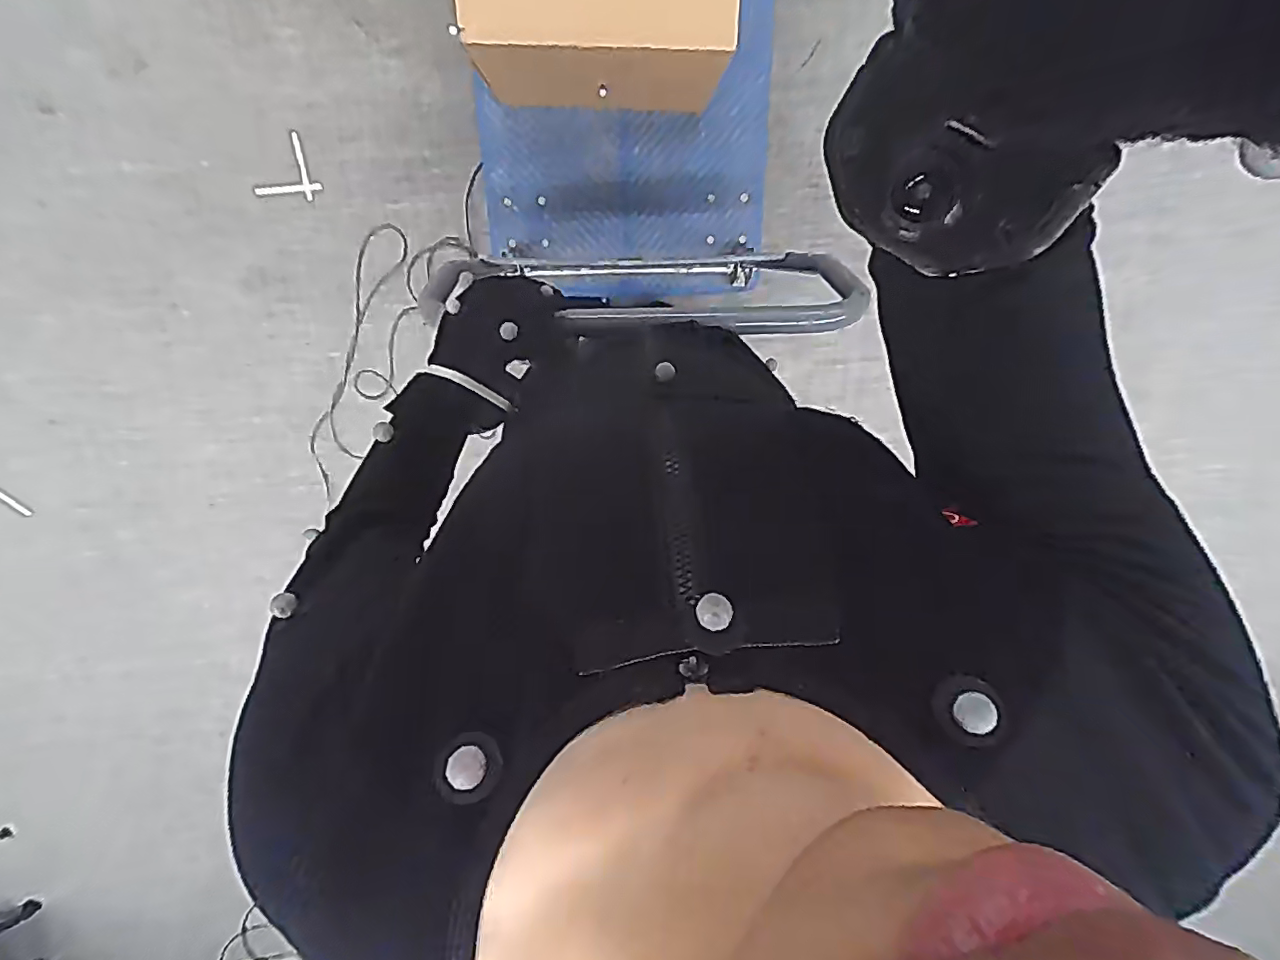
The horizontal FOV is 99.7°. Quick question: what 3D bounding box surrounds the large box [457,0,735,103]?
[{"bbox_3d":[-0.064,-0.830,0.872,0.408,0.320,0.320,0,111,-2],"label":"large box"}]
